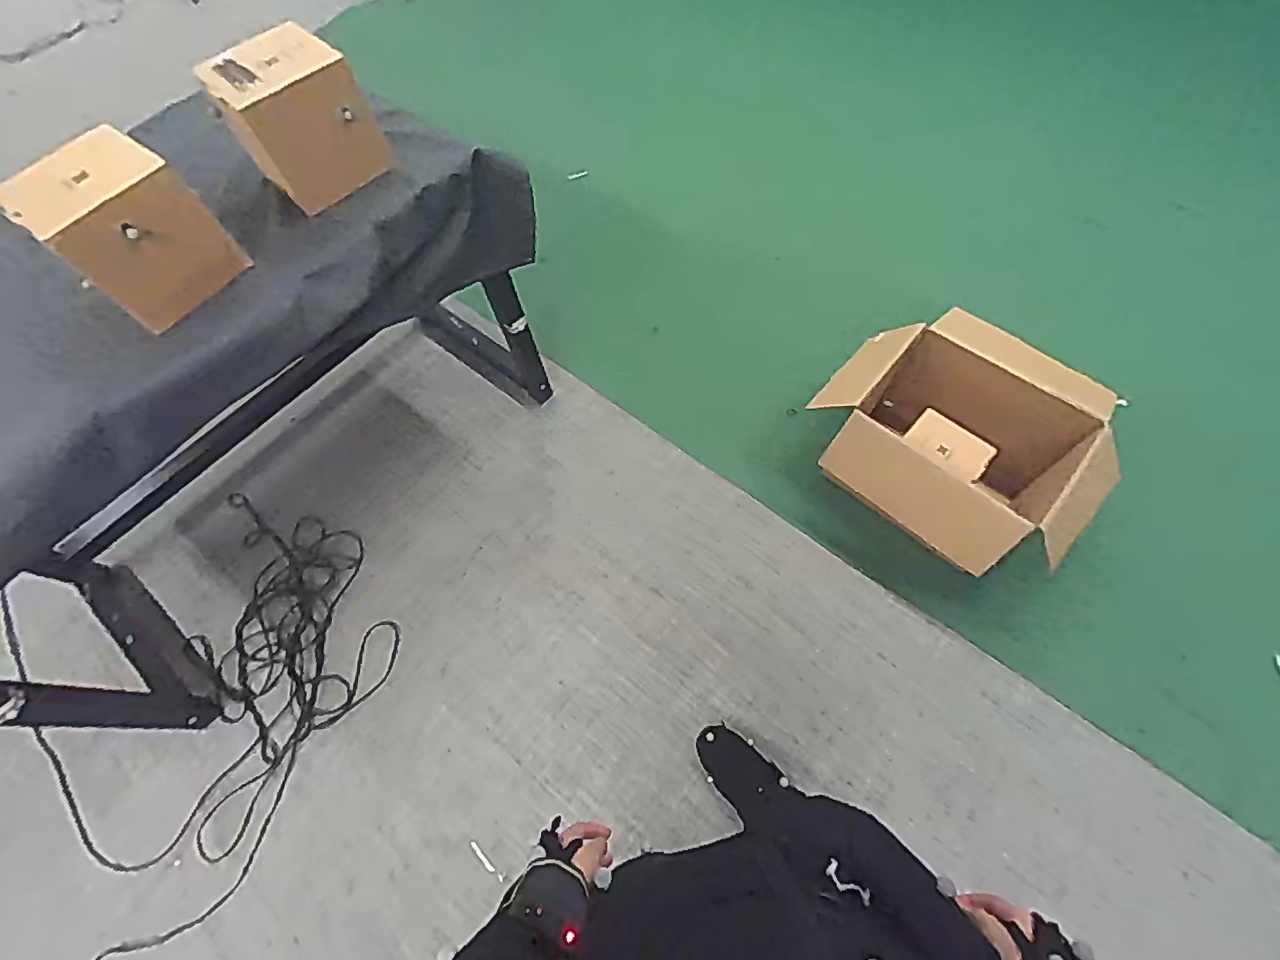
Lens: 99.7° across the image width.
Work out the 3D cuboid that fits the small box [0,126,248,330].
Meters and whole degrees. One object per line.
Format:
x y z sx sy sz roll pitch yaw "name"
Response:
-0.714 -0.355 0.775 0.168 0.176 0.179 33 71 18 "small box"
